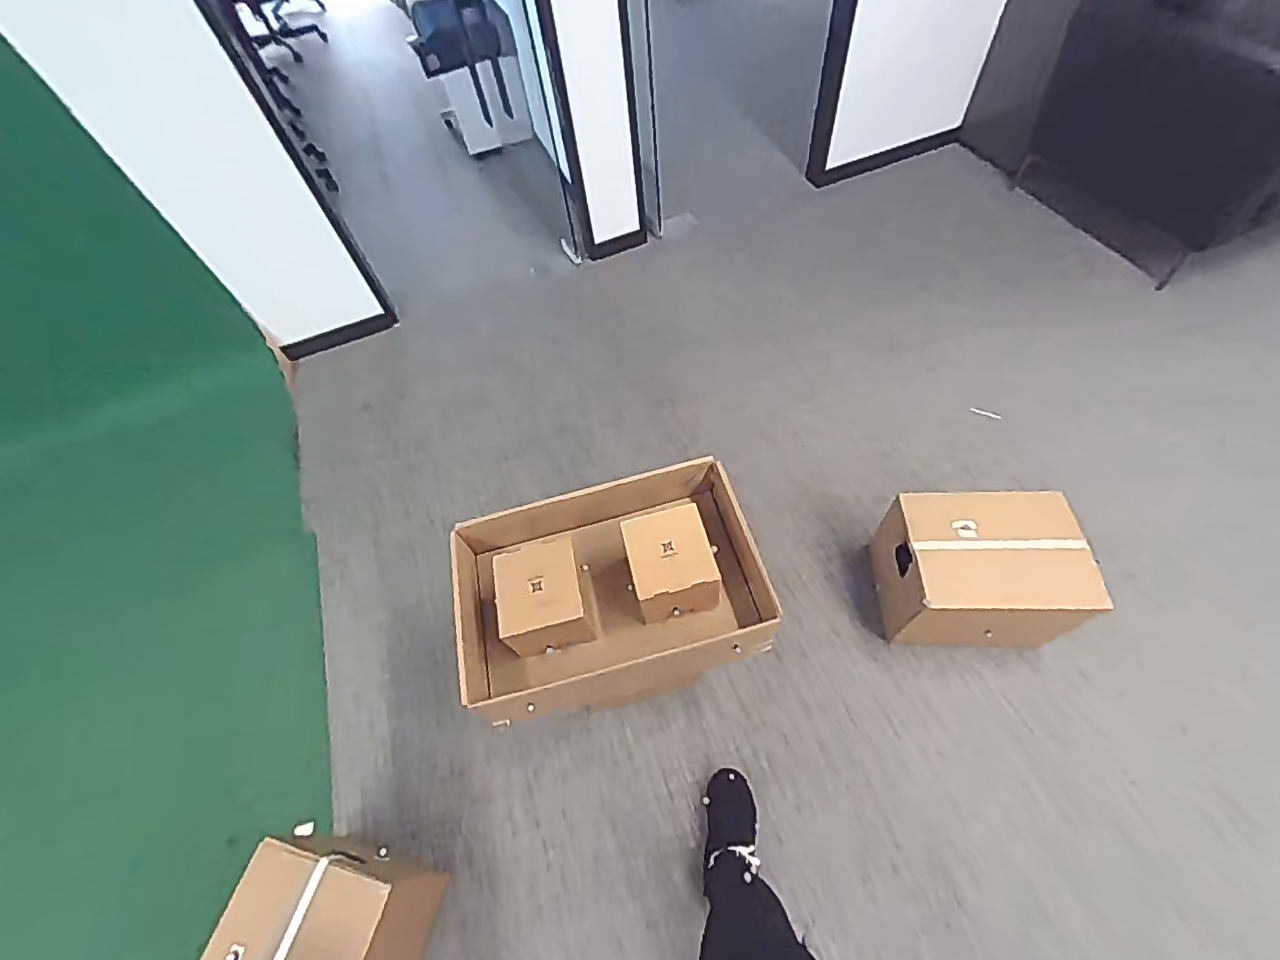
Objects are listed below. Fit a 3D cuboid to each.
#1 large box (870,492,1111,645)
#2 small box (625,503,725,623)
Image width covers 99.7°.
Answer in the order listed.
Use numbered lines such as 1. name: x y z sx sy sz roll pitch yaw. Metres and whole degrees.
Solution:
1. large box: 0.877 0.245 1.427 0.408 0.320 0.320 -2 57 6
2. small box: 0.070 0.179 1.137 0.168 0.176 0.179 -14 58 -3
